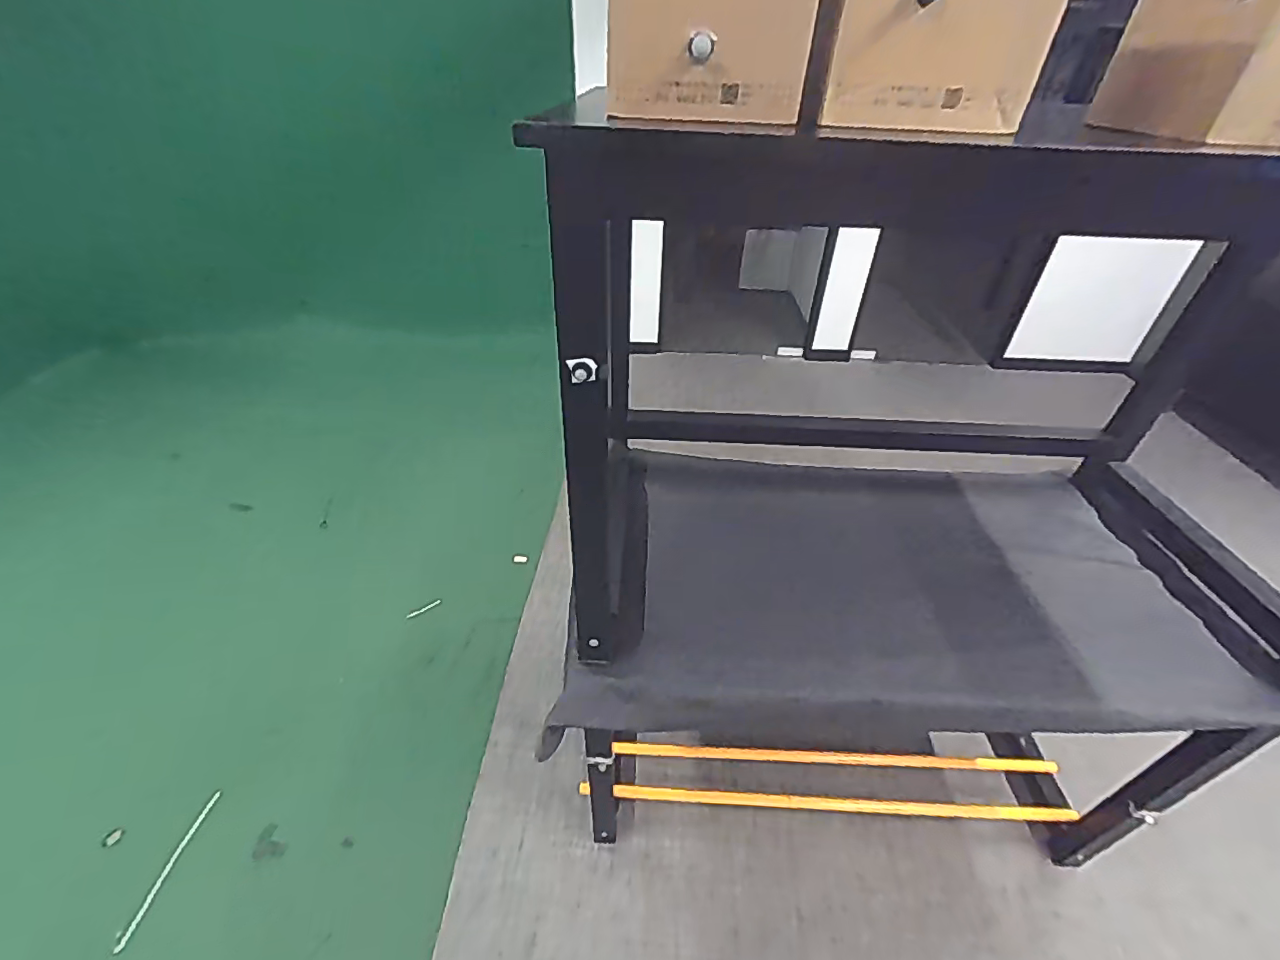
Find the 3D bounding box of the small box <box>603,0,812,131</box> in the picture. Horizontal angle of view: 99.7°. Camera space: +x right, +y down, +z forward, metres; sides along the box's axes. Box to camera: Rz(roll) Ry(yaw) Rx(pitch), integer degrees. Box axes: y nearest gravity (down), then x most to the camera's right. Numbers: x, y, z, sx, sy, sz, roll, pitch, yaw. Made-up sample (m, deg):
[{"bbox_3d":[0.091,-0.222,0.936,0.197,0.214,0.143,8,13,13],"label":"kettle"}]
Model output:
[{"bbox_3d":[0.055,-0.427,0.486,0.168,0.176,0.179,2,38,-1],"label":"small box"}]
